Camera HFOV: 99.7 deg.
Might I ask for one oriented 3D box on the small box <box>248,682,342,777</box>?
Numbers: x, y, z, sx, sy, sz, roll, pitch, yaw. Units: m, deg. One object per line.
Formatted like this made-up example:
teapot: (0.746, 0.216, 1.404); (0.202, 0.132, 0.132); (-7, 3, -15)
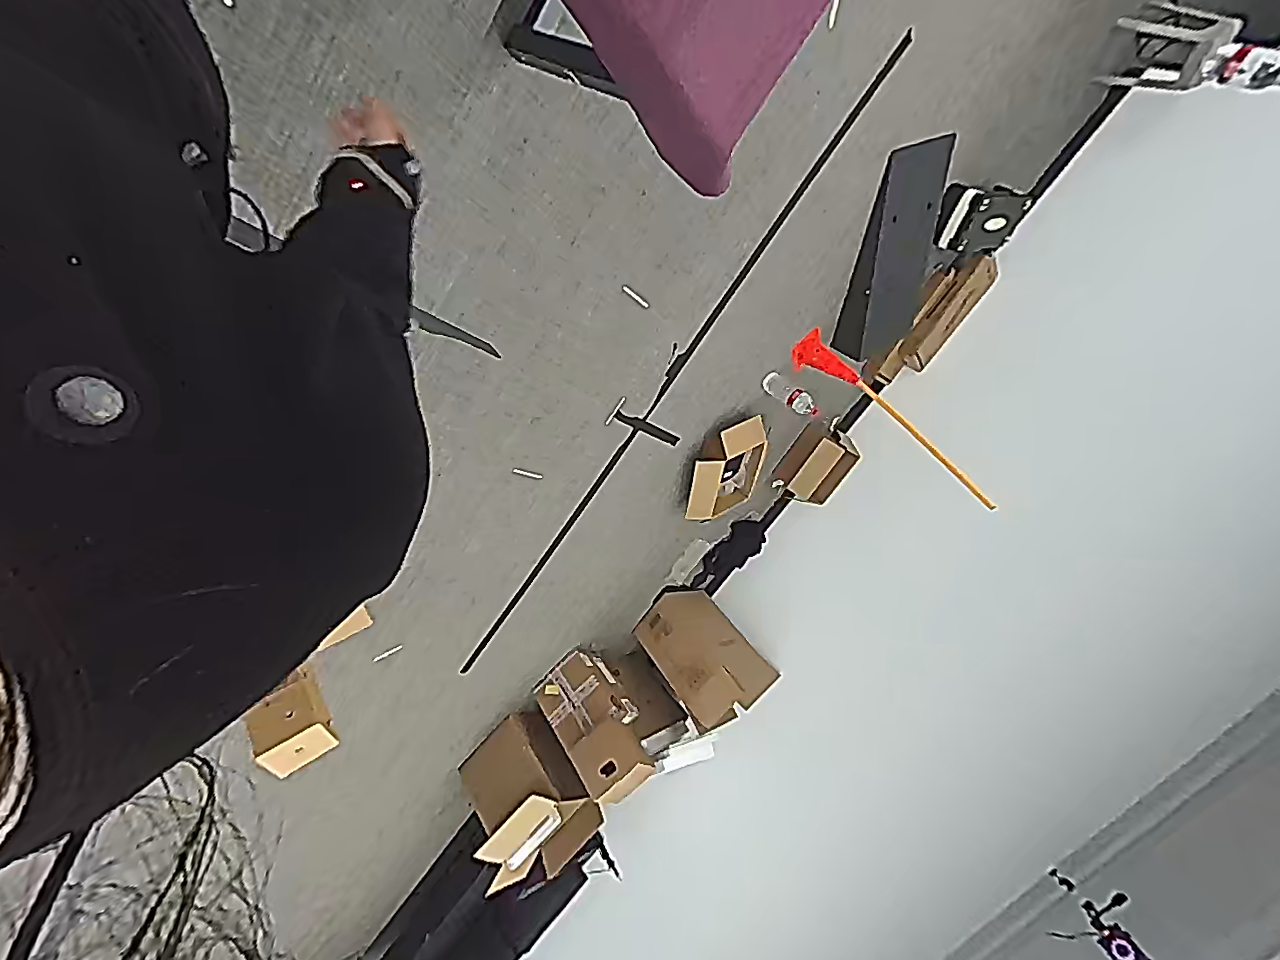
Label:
small box: (-1.015, 0.727, 1.592); (0.168, 0.176, 0.179); (-27, 144, -26)

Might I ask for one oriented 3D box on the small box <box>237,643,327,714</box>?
small box: (-1.117, 0.638, 1.683); (0.168, 0.176, 0.179); (-27, 144, -24)
